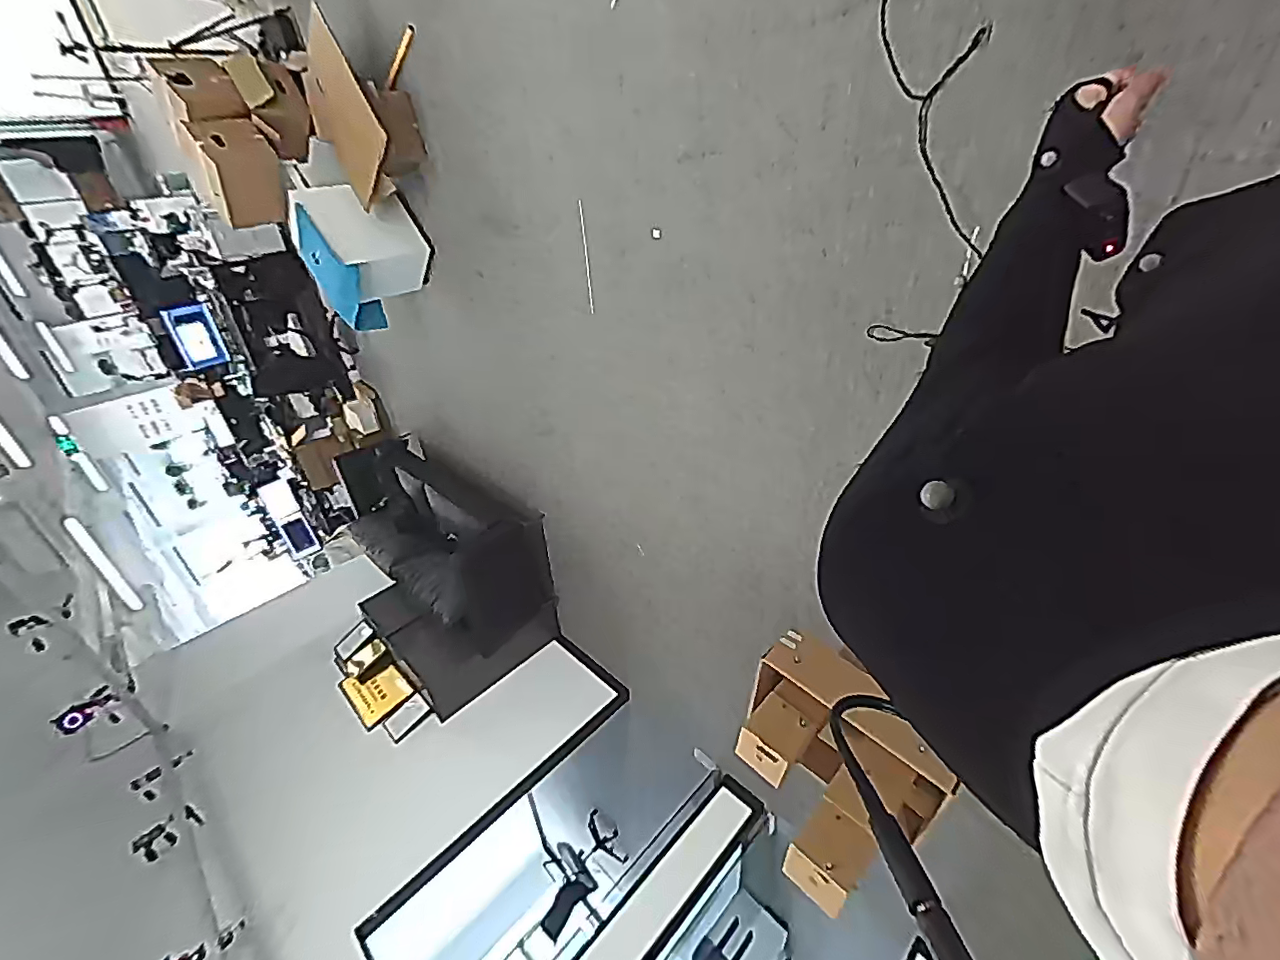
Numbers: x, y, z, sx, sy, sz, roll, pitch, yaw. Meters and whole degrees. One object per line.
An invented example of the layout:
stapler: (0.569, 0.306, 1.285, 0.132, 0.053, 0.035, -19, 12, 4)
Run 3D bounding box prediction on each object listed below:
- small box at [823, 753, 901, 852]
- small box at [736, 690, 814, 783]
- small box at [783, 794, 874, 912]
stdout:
small box: (0.632, 0.941, 1.571, 0.168, 0.176, 0.179, 30, 134, 36)
small box: (0.433, 0.813, 1.726, 0.168, 0.176, 0.179, 32, 138, 32)
small box: (0.516, 1.015, 1.482, 0.168, 0.176, 0.179, 29, 135, 36)
